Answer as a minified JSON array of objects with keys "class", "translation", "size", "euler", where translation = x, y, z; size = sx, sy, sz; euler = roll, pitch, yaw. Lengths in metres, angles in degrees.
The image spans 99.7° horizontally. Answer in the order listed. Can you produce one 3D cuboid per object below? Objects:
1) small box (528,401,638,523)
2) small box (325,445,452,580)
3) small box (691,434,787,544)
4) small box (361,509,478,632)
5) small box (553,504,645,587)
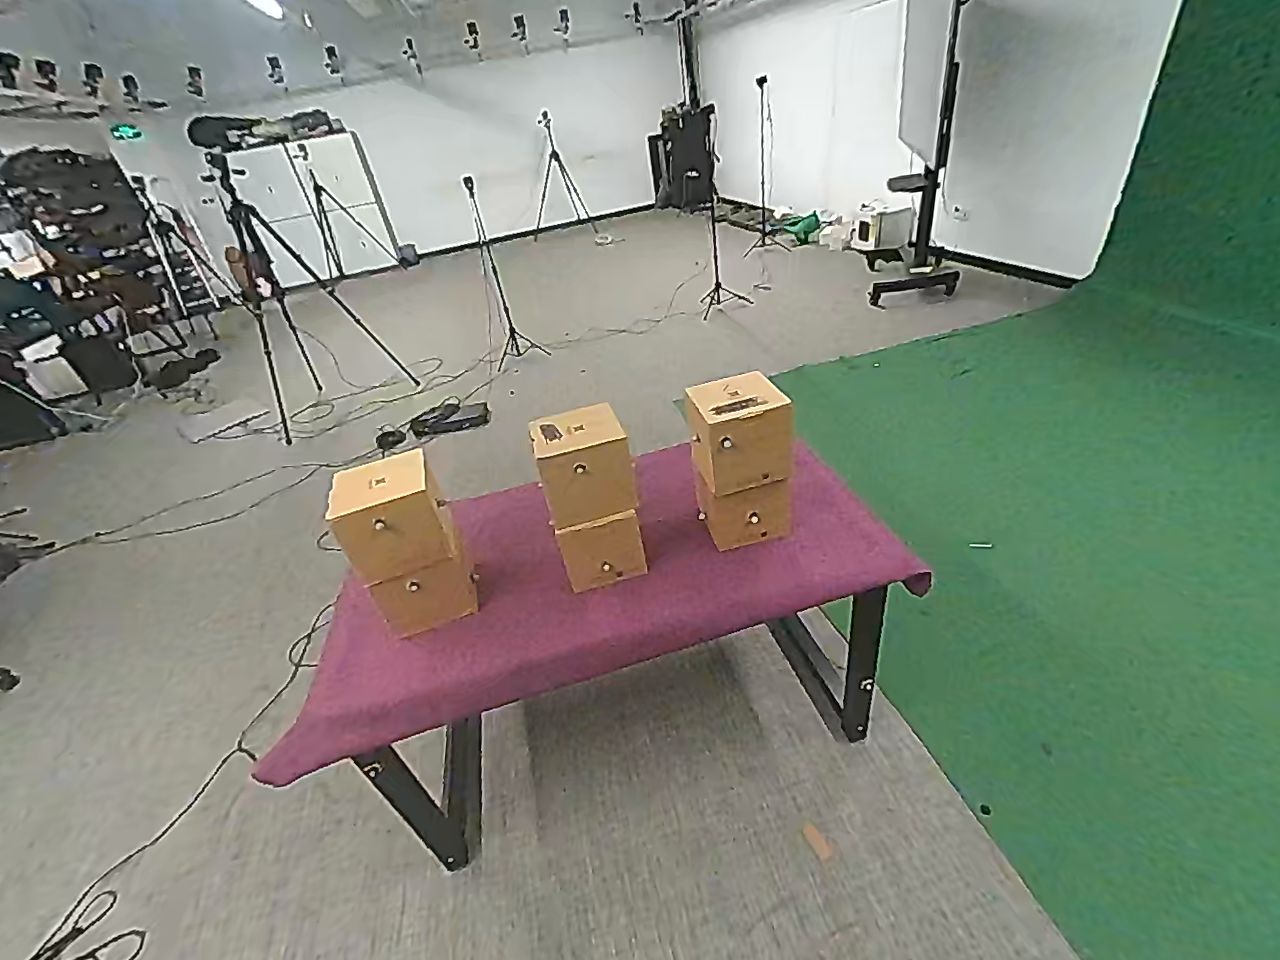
[{"class":"small box","translation":[-0.116,-0.036,1.094],"size":[0.179,0.176,0.168],"euler":[-15,34,-8]},{"class":"small box","translation":[-0.477,0.063,1.053],"size":[0.179,0.176,0.168],"euler":[-19,37,-11]},{"class":"small box","translation":[0.222,0.025,1.208],"size":[0.168,0.176,0.179],"euler":[-13,35,-3]},{"class":"small box","translation":[-0.459,0.193,1.147],"size":[0.179,0.176,0.168],"euler":[-17,36,-10]},{"class":"small box","translation":[-0.093,0.103,1.178],"size":[0.168,0.176,0.179],"euler":[-14,35,-5]}]
